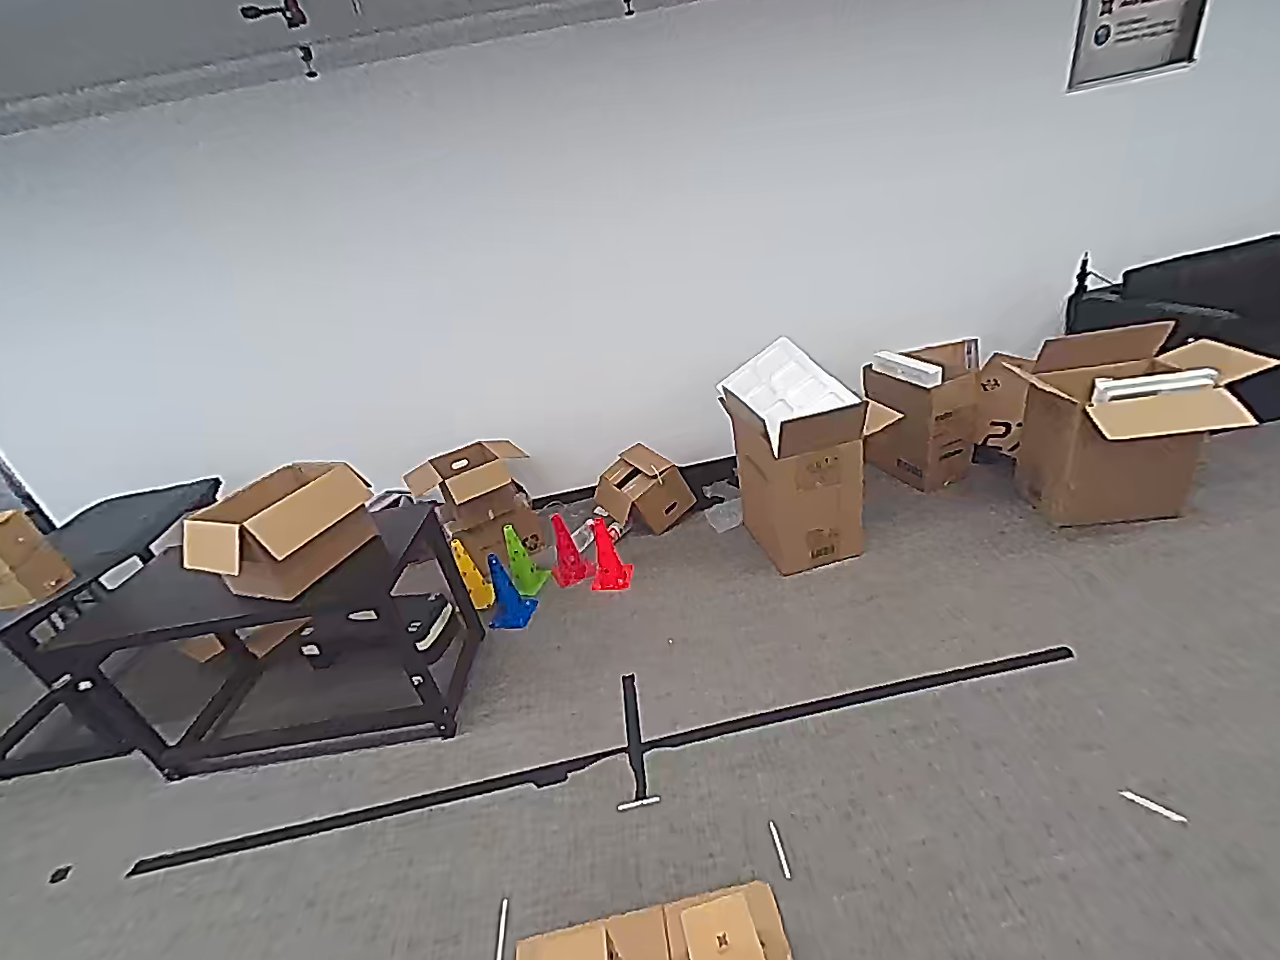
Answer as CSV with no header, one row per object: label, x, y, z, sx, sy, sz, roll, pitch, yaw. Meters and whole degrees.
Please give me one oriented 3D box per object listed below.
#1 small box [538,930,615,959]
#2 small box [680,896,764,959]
small box,-0.138,1.198,1.247,0.168,0.176,0.179,-13,27,-2
small box,0.199,1.131,1.261,0.168,0.176,0.179,-14,27,-6
